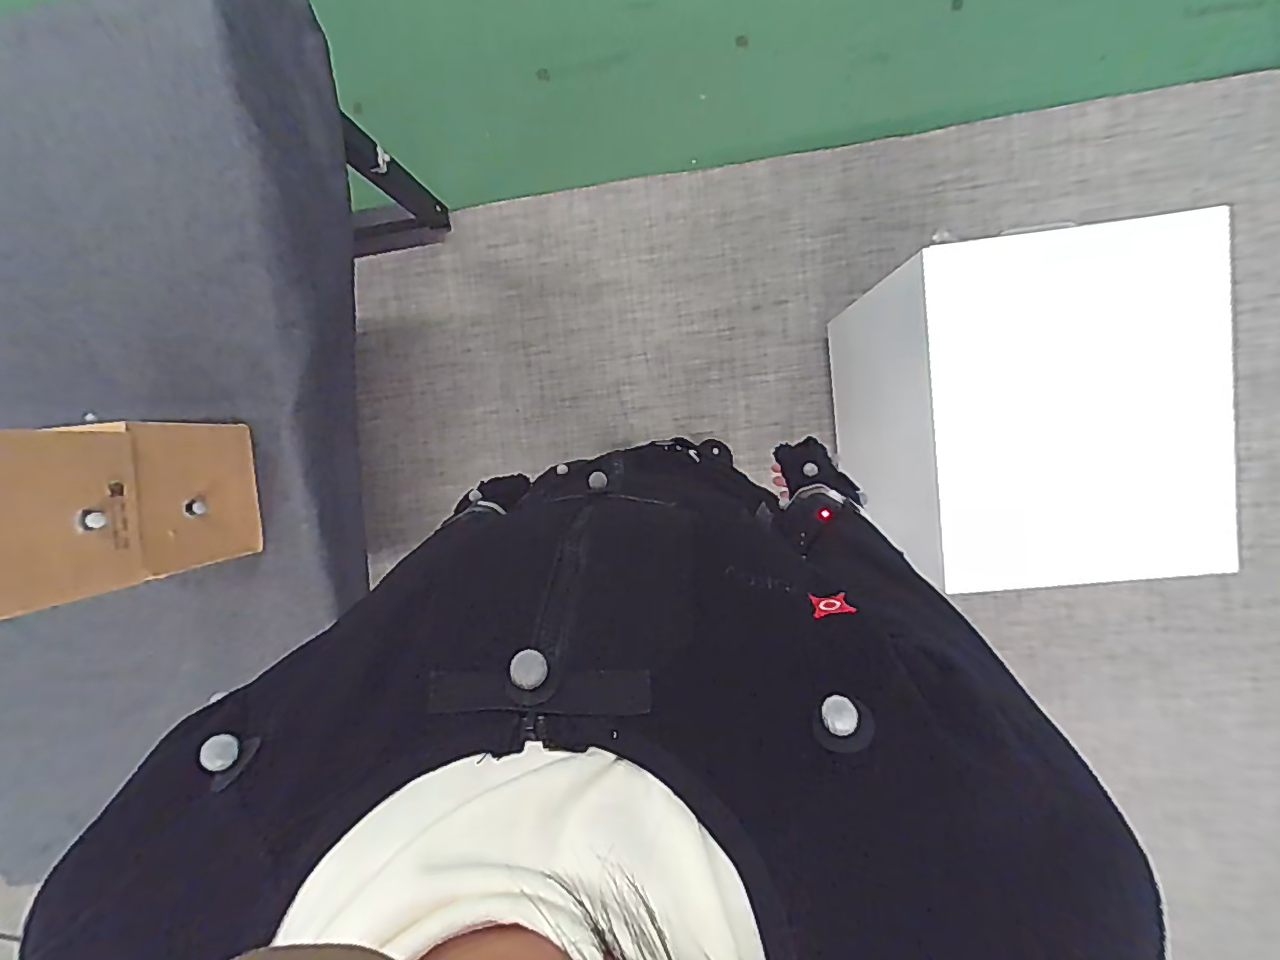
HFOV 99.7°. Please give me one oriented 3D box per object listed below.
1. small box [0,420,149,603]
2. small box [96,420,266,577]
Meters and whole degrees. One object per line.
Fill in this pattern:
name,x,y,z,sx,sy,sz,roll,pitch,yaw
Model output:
small box,-0.637,0.031,0.521,0.179,0.176,0.168,-4,94,9
small box,-0.614,0.017,0.683,0.168,0.176,0.179,-4,95,7
